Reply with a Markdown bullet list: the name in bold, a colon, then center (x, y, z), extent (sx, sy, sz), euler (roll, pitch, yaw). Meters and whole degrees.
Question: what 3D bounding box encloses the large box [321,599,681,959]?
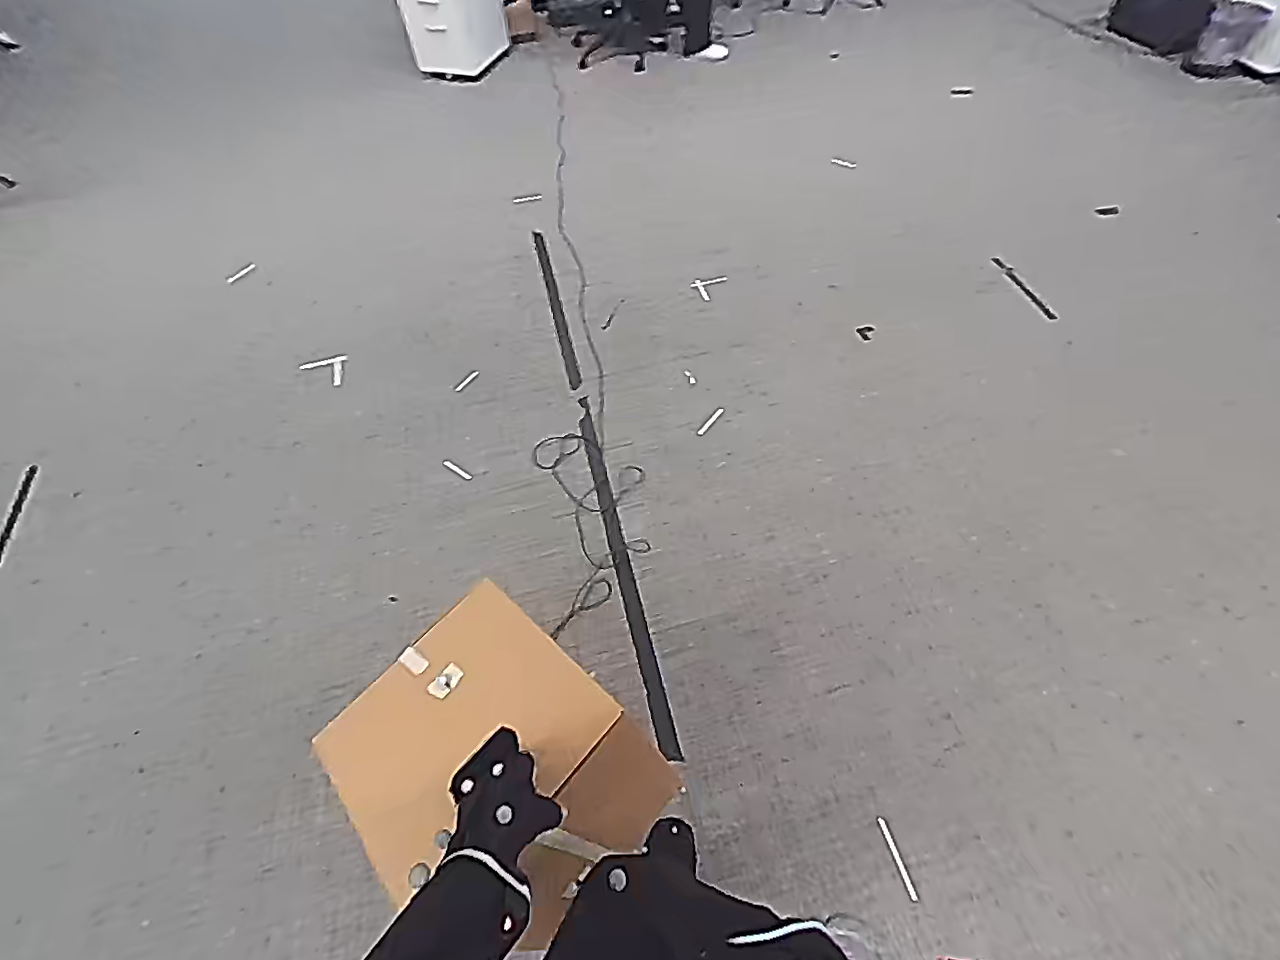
- **large box**: center (-0.181, 0.454, 0.837), extent (0.320, 0.408, 0.320), euler (31, 66, 34)
